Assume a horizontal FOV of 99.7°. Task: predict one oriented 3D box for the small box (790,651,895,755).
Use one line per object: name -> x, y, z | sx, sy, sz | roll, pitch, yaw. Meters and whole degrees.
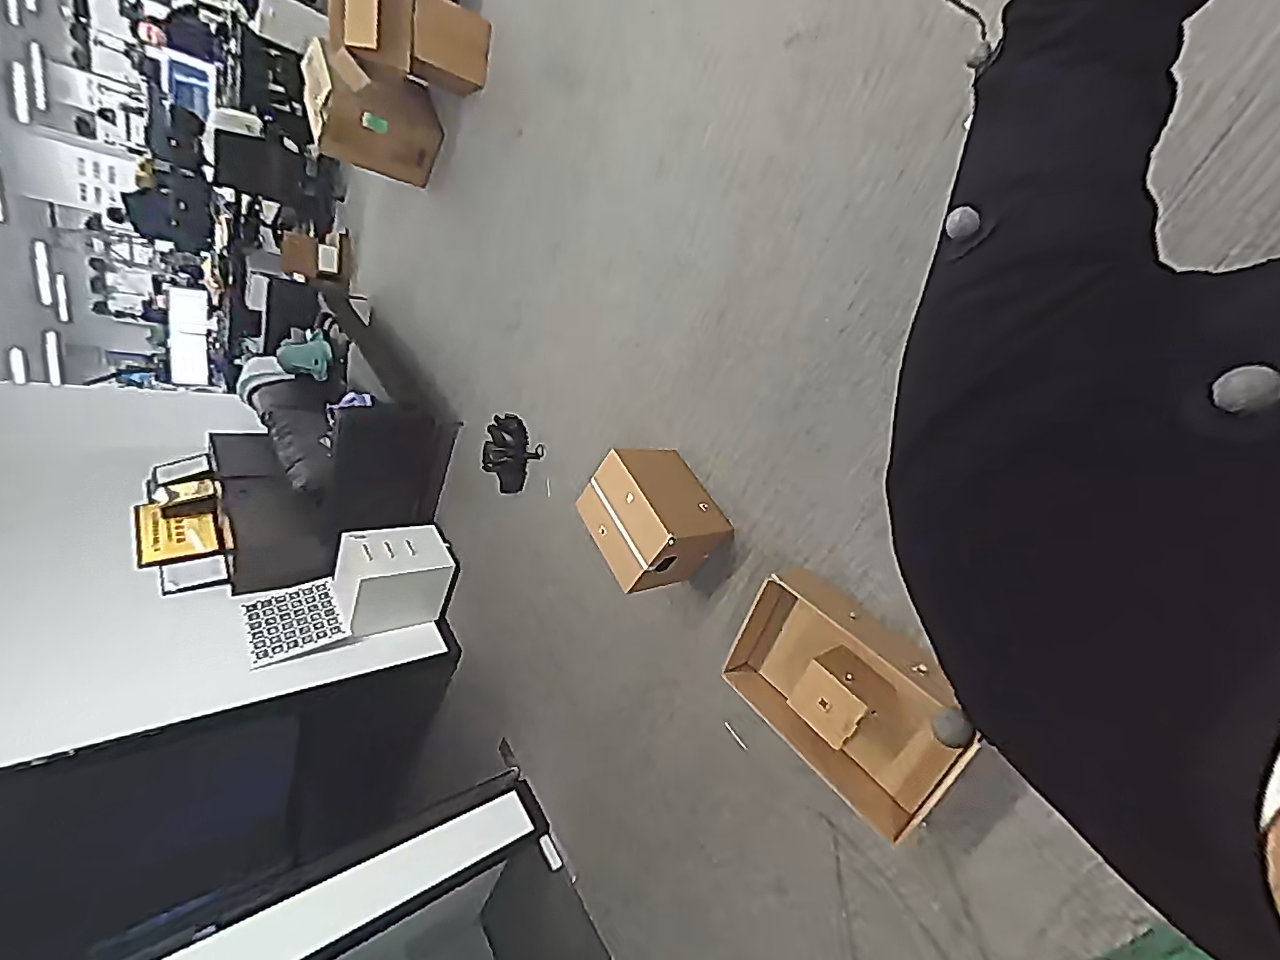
small box -> 0.548, 0.592, 1.460 | 0.179, 0.176, 0.168 | 41, 119, 40
